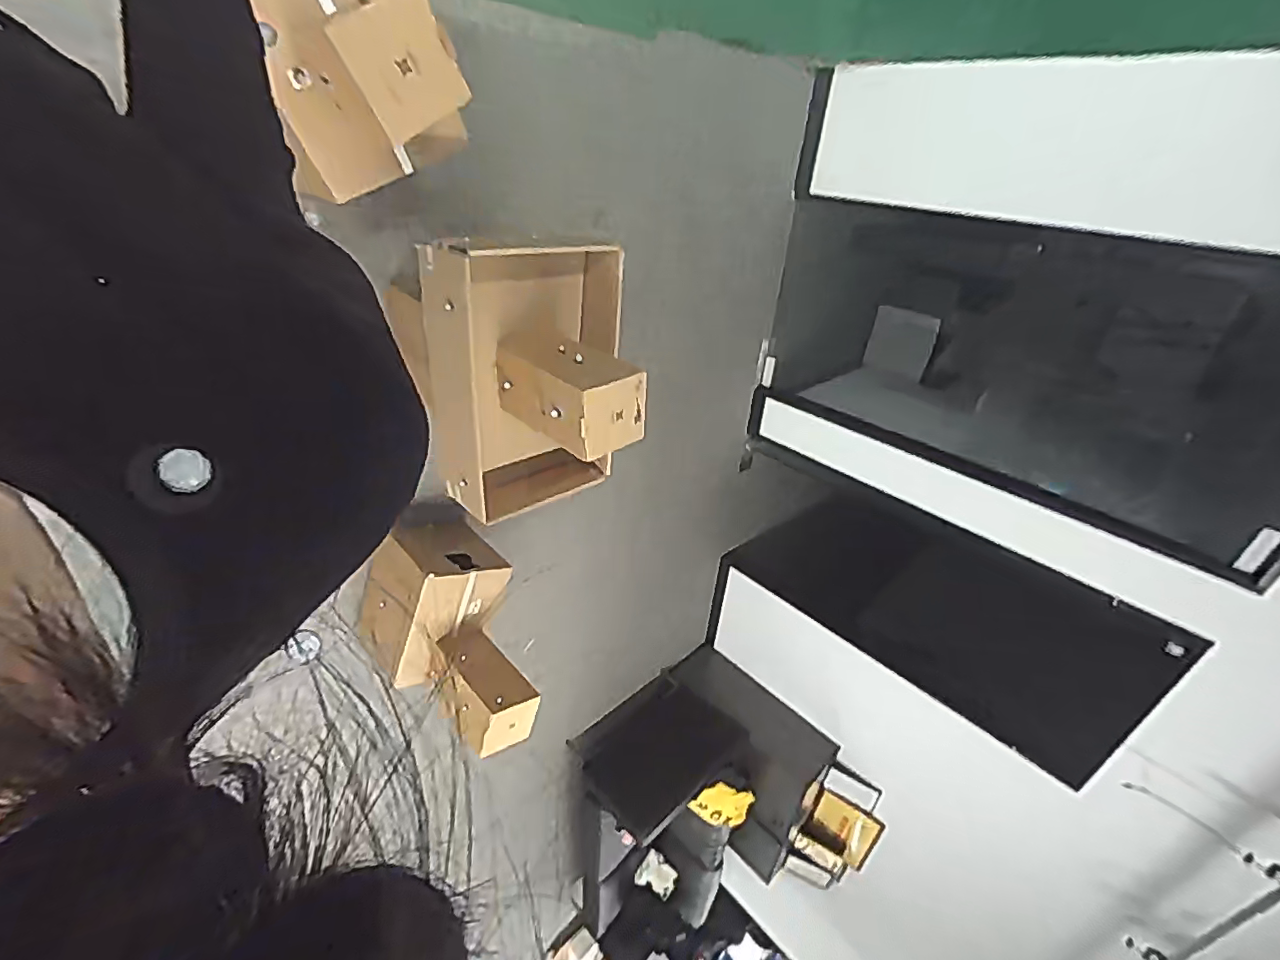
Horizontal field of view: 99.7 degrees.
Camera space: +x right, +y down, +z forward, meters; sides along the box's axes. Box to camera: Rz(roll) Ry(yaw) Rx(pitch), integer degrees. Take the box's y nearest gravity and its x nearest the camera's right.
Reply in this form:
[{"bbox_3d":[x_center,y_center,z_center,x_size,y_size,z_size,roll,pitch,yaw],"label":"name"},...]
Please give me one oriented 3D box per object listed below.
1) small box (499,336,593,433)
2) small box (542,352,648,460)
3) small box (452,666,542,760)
[{"bbox_3d":[-0.216,-0.236,1.293,0.179,0.176,0.168,-23,131,-38],"label":"small box"},{"bbox_3d":[-0.104,-0.170,1.193,0.179,0.176,0.168,-25,132,-36],"label":"small box"},{"bbox_3d":[-0.428,0.683,1.611,0.179,0.176,0.168,-1,116,-49],"label":"small box"}]
